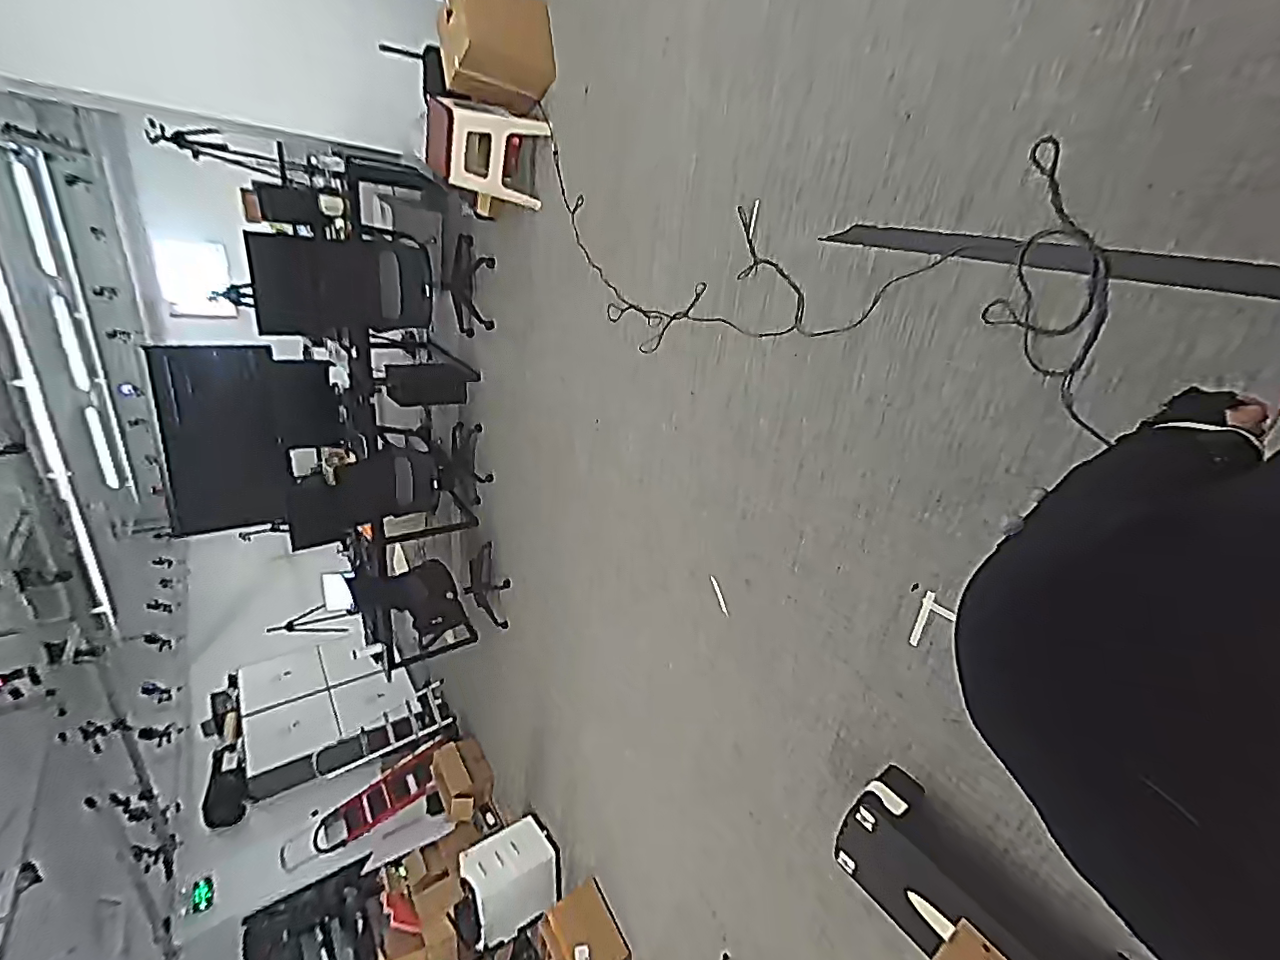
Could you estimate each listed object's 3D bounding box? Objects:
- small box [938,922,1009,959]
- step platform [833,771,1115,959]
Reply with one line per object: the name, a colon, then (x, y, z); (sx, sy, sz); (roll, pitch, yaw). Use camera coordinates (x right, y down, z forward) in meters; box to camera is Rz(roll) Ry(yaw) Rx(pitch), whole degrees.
small box: (0.755, 1.170, 1.222); (0.168, 0.176, 0.179); (35, 126, 43)
step platform: (0.842, 1.125, 1.388); (0.684, 0.204, 0.286); (33, 125, 44)
